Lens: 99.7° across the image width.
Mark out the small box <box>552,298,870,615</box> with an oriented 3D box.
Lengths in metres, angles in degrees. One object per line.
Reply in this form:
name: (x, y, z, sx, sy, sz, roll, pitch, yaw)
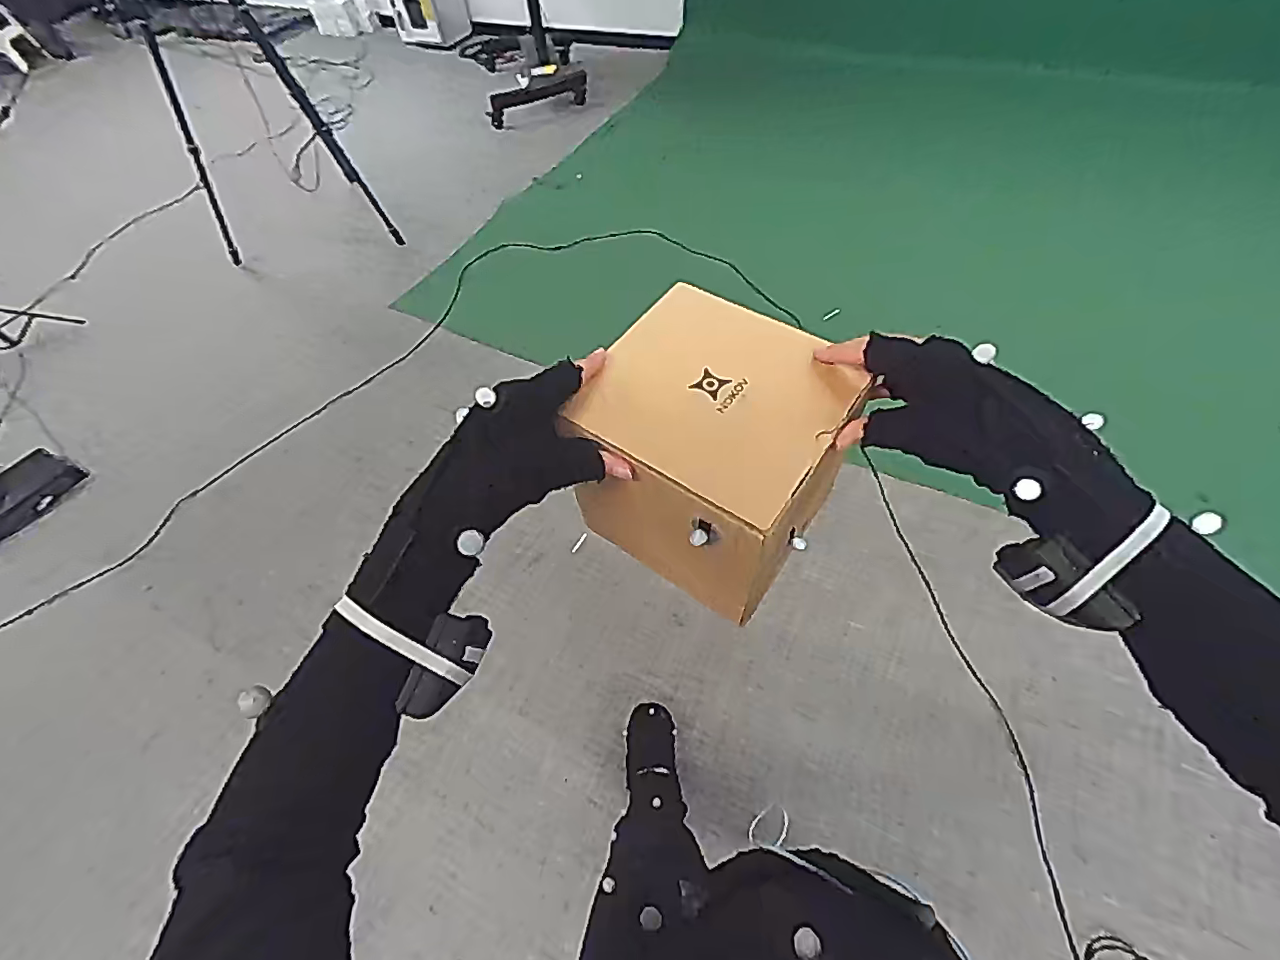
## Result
small box: (0.055, -0.015, 0.456, 0.179, 0.176, 0.168, 31, 63, 21)
